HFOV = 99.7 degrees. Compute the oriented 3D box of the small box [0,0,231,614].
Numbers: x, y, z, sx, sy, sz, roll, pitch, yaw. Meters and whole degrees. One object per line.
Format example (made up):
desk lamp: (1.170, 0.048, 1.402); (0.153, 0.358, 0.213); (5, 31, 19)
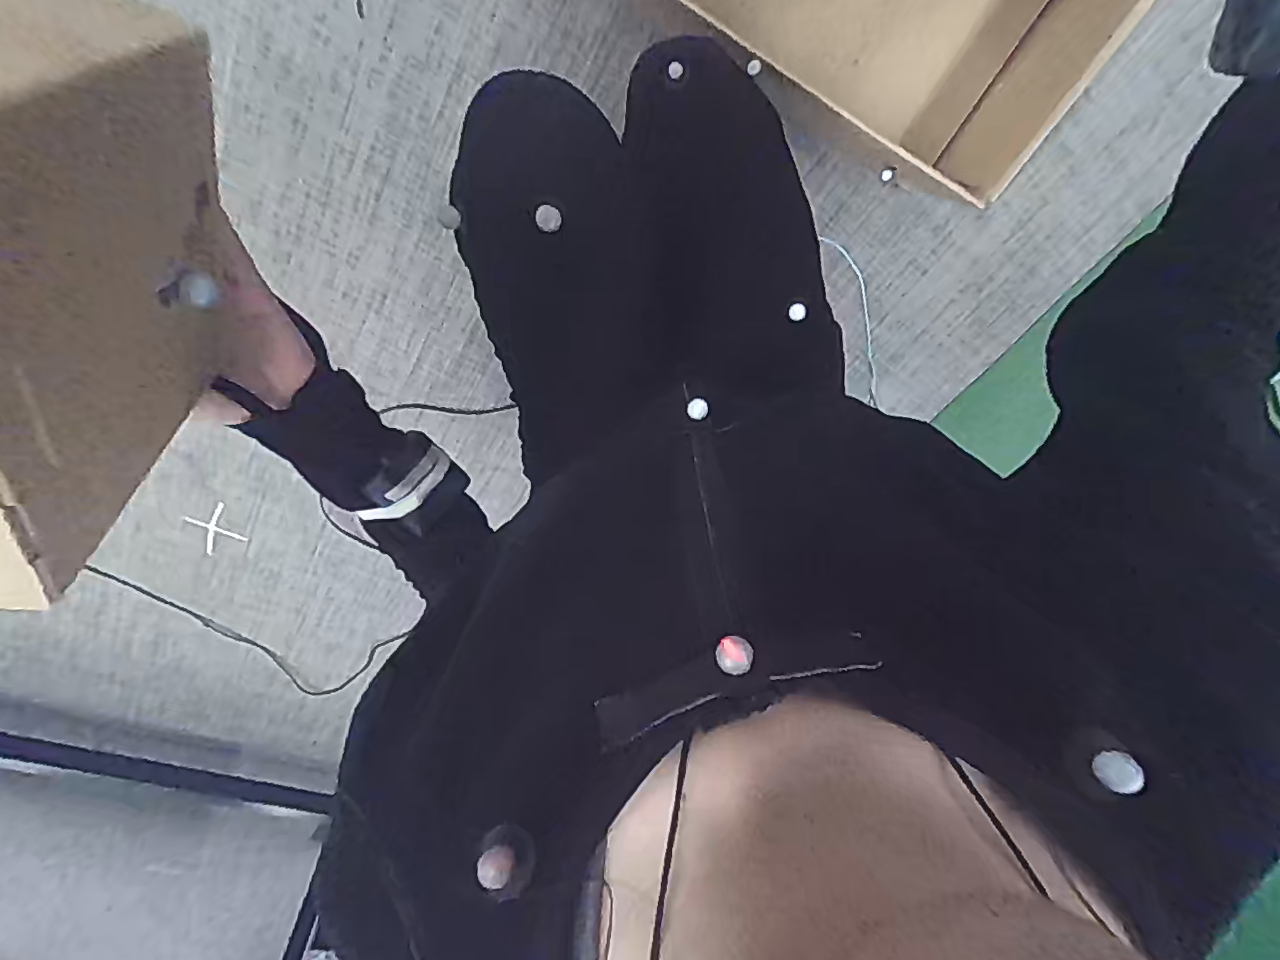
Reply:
small box: (-0.278, -0.078, 0.186); (0.179, 0.176, 0.168); (13, 133, -23)
